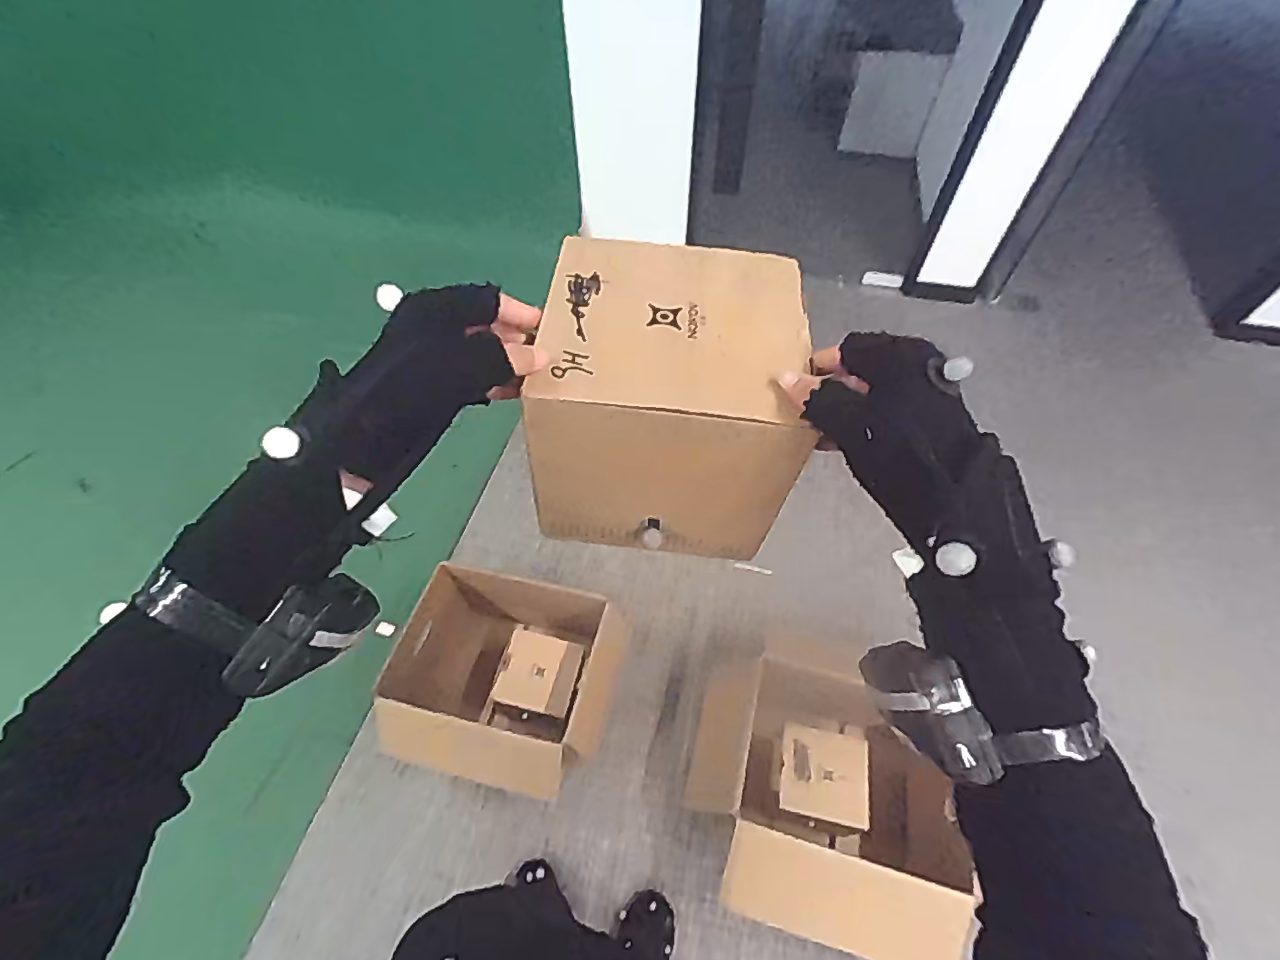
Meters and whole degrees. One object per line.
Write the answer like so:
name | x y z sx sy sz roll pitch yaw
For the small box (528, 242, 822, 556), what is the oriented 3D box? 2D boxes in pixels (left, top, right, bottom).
small box | 0.020 -0.054 0.423 0.179 0.176 0.168 6 54 -2
